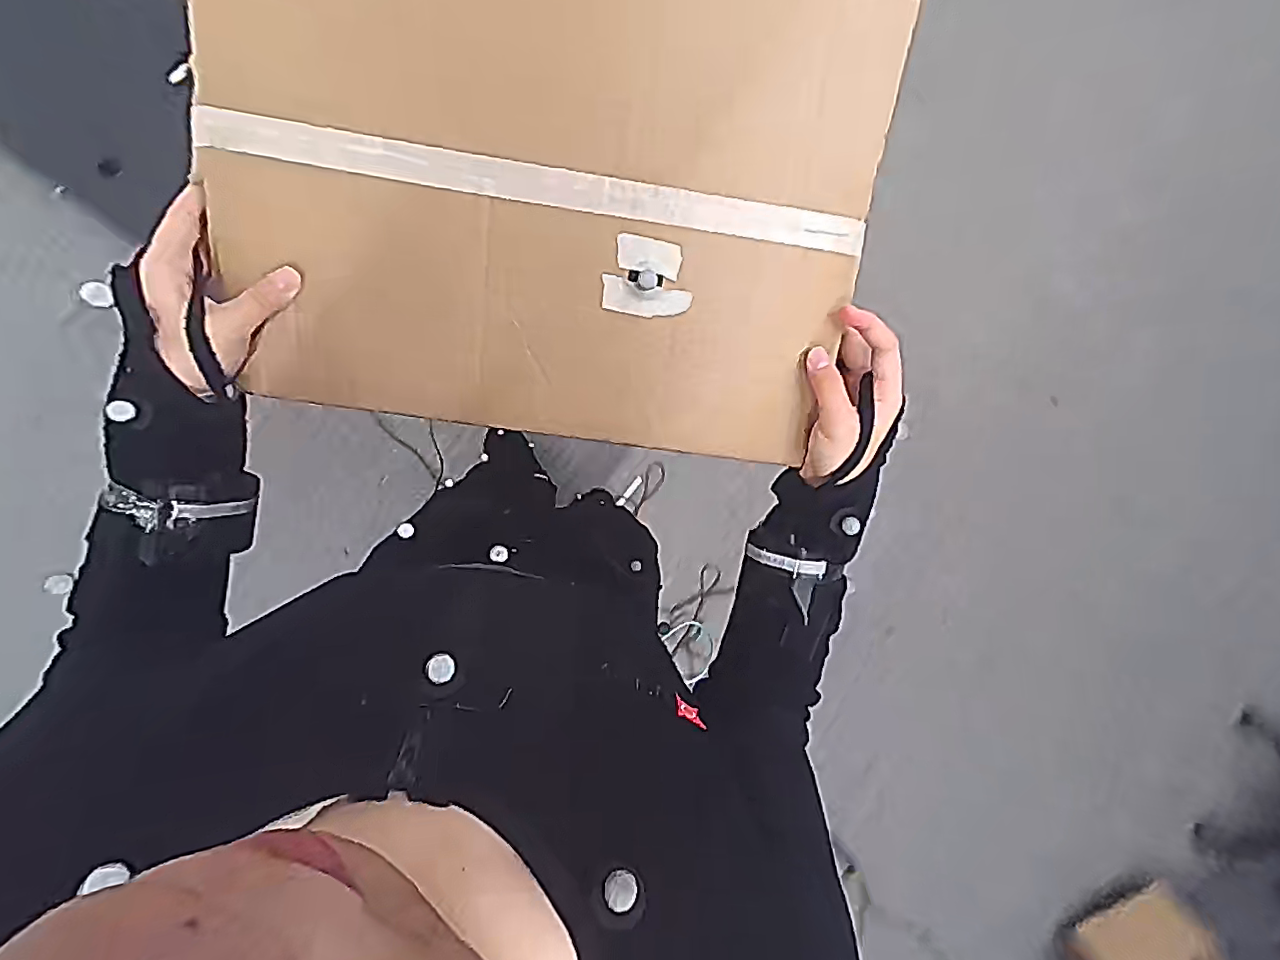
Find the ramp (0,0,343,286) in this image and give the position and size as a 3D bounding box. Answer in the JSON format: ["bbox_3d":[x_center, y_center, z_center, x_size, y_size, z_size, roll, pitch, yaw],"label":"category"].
[{"bbox_3d":[-1.196,-0.928,1.106,0.991,0.206,0.509,37,91,-8],"label":"ramp"}]
